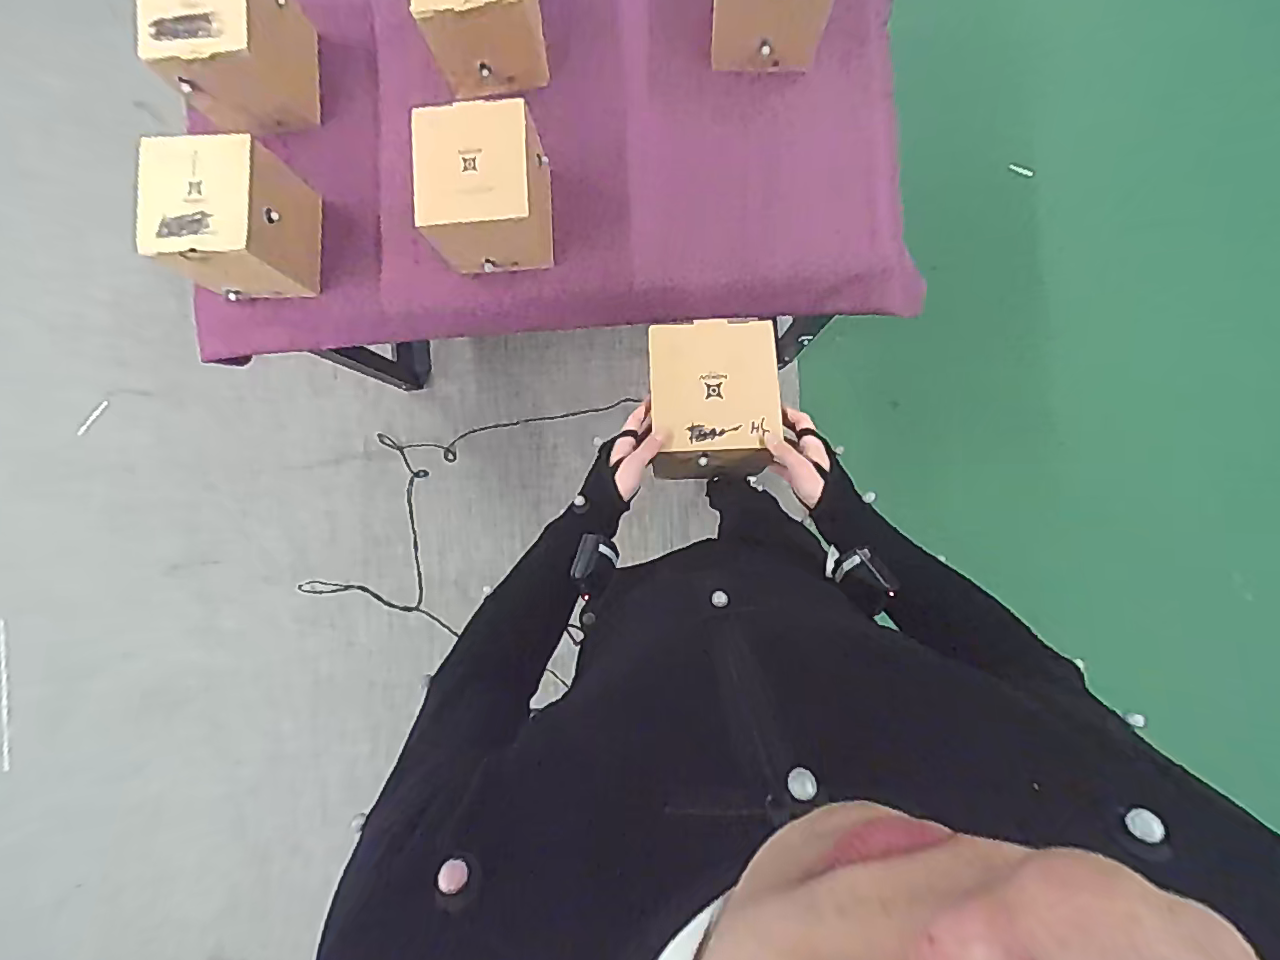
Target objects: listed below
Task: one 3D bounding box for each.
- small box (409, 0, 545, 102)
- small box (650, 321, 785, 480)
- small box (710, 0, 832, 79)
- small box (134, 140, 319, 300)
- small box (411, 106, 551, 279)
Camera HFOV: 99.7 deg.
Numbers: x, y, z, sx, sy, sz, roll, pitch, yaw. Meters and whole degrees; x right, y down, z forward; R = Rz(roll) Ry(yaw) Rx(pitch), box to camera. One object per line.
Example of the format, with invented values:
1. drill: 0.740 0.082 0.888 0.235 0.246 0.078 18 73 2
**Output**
1. small box: -0.254 -0.746 0.851 0.168 0.176 0.179 -8 89 1
2. small box: 0.099 -0.105 0.768 0.168 0.176 0.179 -2 77 1
3. small box: 0.198 -0.767 0.833 0.168 0.176 0.179 3 89 3
4. small box: -0.635 -0.394 0.850 0.168 0.176 0.179 -1 87 1
5. small box: -0.237 -0.434 0.840 0.168 0.176 0.179 -3 88 3
